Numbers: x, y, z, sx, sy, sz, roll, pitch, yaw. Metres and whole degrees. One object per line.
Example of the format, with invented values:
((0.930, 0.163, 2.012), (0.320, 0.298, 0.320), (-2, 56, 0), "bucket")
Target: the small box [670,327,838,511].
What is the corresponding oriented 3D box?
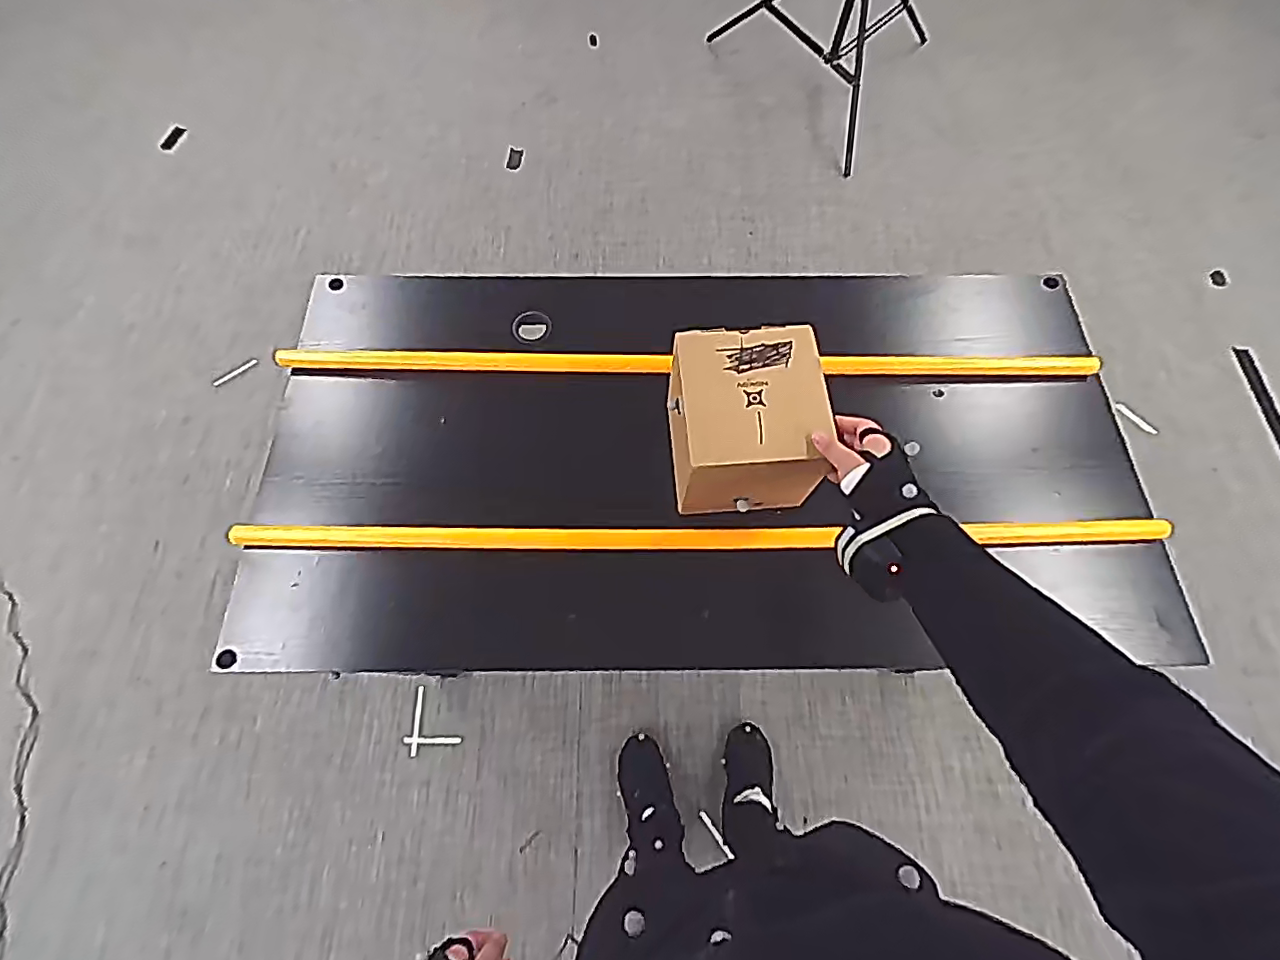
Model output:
((0.129, -0.071, 0.693), (0.168, 0.176, 0.179), (-4, 69, -1), "small box")
